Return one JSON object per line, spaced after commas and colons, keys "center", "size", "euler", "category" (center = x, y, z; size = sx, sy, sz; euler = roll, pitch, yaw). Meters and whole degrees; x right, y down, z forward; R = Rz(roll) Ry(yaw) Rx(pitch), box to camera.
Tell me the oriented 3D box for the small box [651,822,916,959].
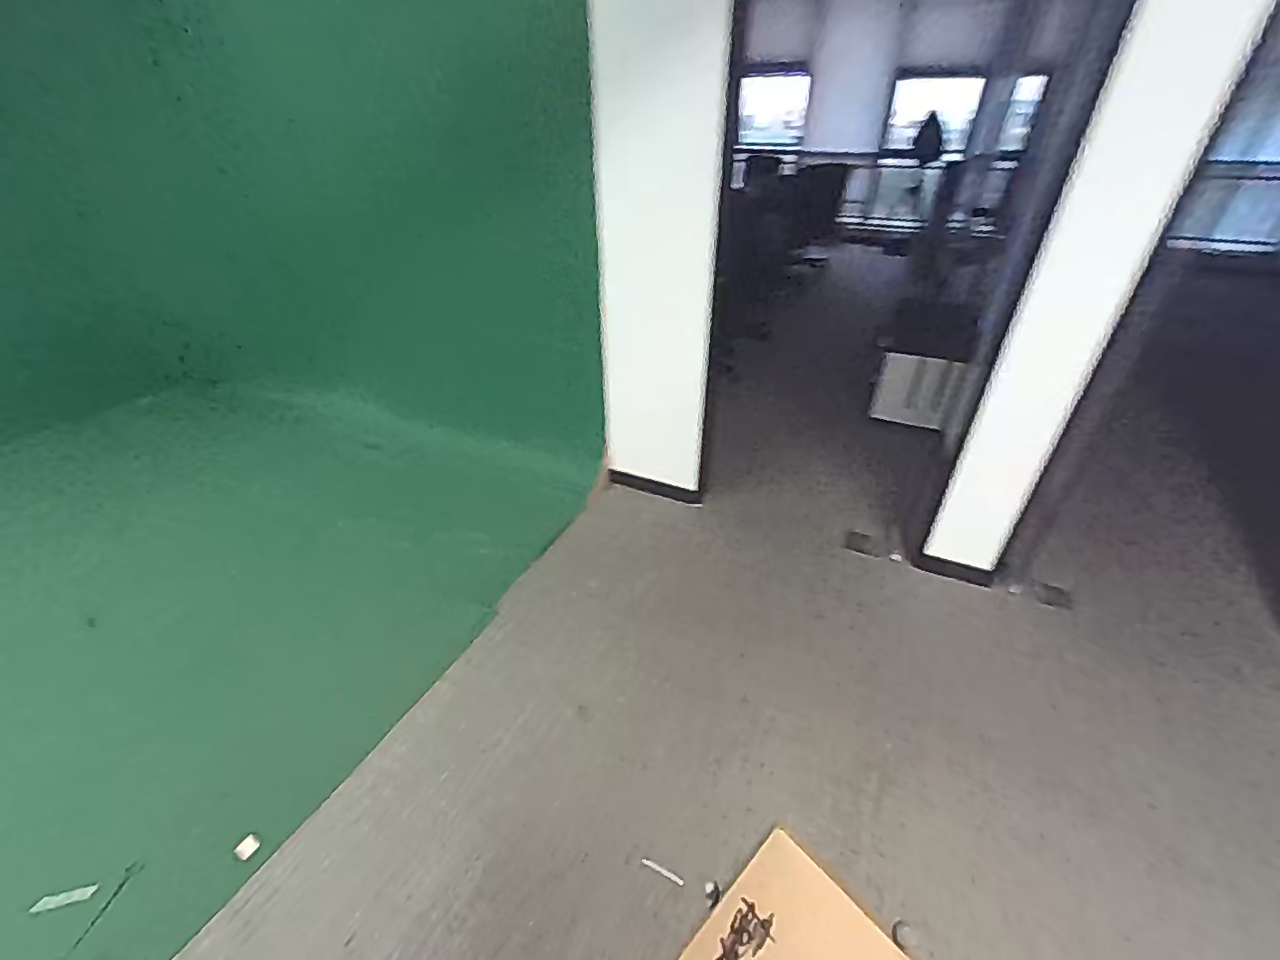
{"center": [0.107, 0.377, 0.383], "size": [0.179, 0.176, 0.168], "euler": [37, 75, 28], "category": "small box"}
